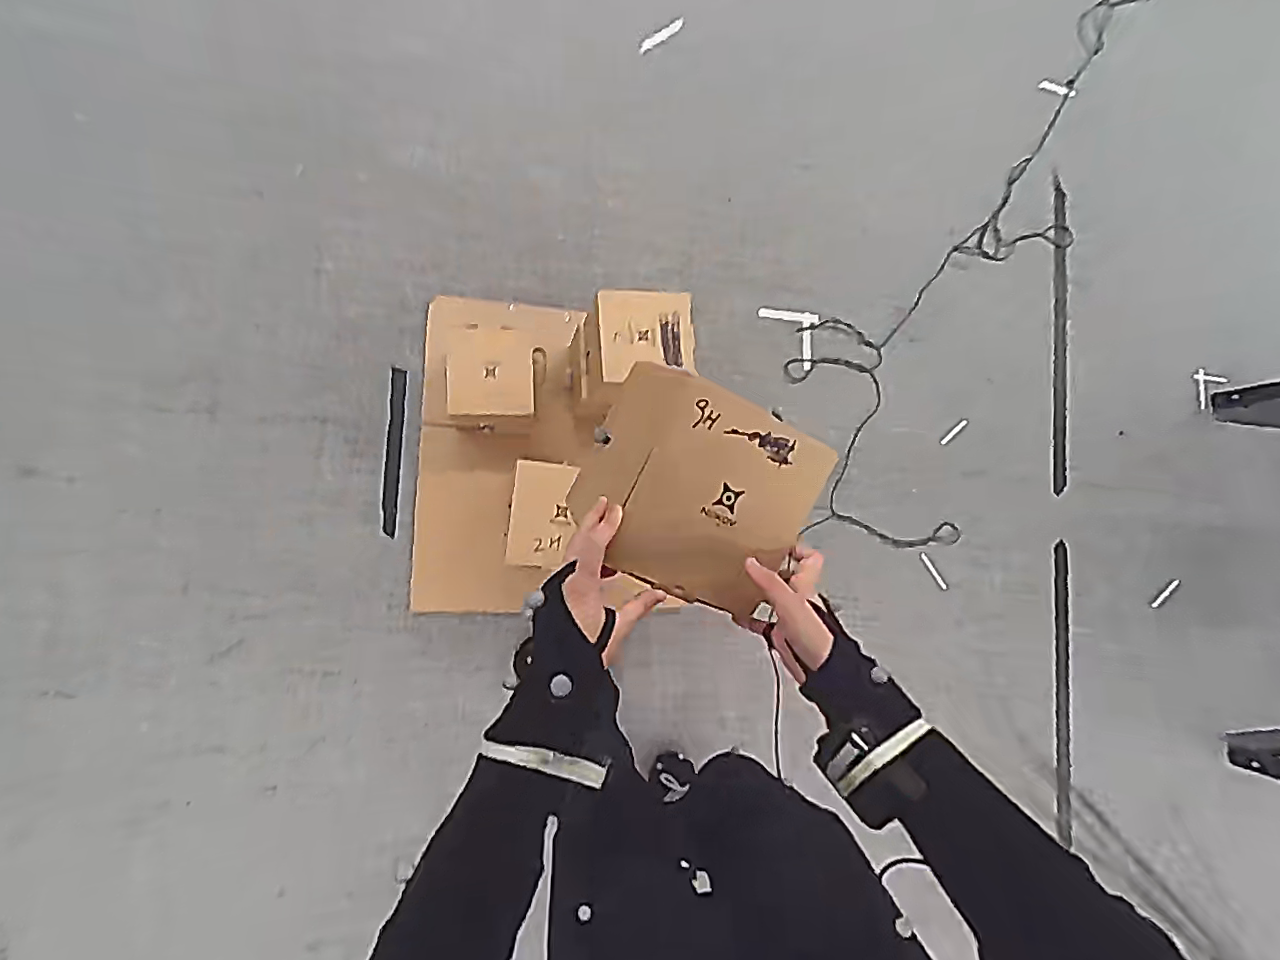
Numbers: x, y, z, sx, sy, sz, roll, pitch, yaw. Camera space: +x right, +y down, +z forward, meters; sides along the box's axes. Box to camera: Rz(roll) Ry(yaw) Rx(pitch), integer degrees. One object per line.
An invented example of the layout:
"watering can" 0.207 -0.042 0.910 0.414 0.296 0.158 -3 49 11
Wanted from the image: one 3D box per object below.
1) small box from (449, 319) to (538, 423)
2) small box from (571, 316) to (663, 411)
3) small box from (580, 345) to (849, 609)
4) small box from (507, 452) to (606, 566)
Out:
"small box" -0.304 -0.220 1.129 0.168 0.176 0.179 -3 87 -12
"small box" -0.054 -0.249 1.194 0.179 0.176 0.168 -2 86 -14
"small box" 0.053 -0.012 0.520 0.168 0.176 0.179 23 100 -22
"small box" -0.148 0.054 0.978 0.168 0.176 0.179 7 86 -14
